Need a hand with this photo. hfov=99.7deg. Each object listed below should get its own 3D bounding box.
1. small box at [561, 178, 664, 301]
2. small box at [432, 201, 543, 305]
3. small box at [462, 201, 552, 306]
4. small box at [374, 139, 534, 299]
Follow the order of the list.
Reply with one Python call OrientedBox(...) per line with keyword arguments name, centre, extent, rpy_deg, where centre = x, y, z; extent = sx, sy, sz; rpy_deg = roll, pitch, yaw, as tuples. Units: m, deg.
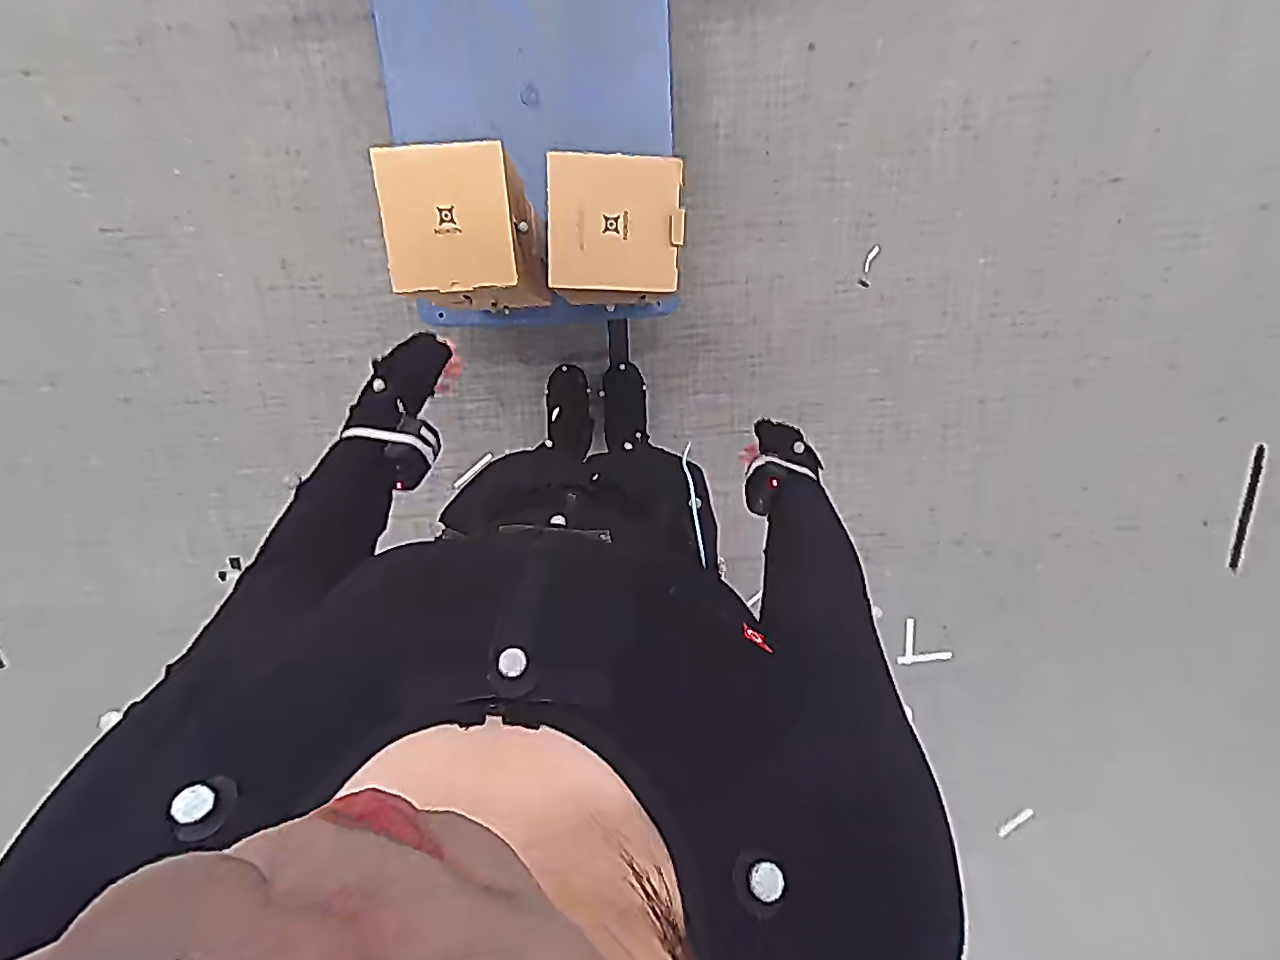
OrientedBox(name="small box", centre=(-0.047, -0.408, 0.941), extent=(0.168, 0.176, 0.179), rpy_deg=(-2, 106, -2))
OrientedBox(name="small box", centre=(-0.268, -0.401, 0.932), extent=(0.168, 0.176, 0.179), rpy_deg=(-7, 107, -2))
OrientedBox(name="small box", centre=(-0.275, -0.447, 1.090), extent=(0.168, 0.176, 0.179), rpy_deg=(-5, 105, -2))
OrientedBox(name="small box", centre=(-0.251, -0.360, 0.774), extent=(0.168, 0.176, 0.179), rpy_deg=(-4, 106, -2))
